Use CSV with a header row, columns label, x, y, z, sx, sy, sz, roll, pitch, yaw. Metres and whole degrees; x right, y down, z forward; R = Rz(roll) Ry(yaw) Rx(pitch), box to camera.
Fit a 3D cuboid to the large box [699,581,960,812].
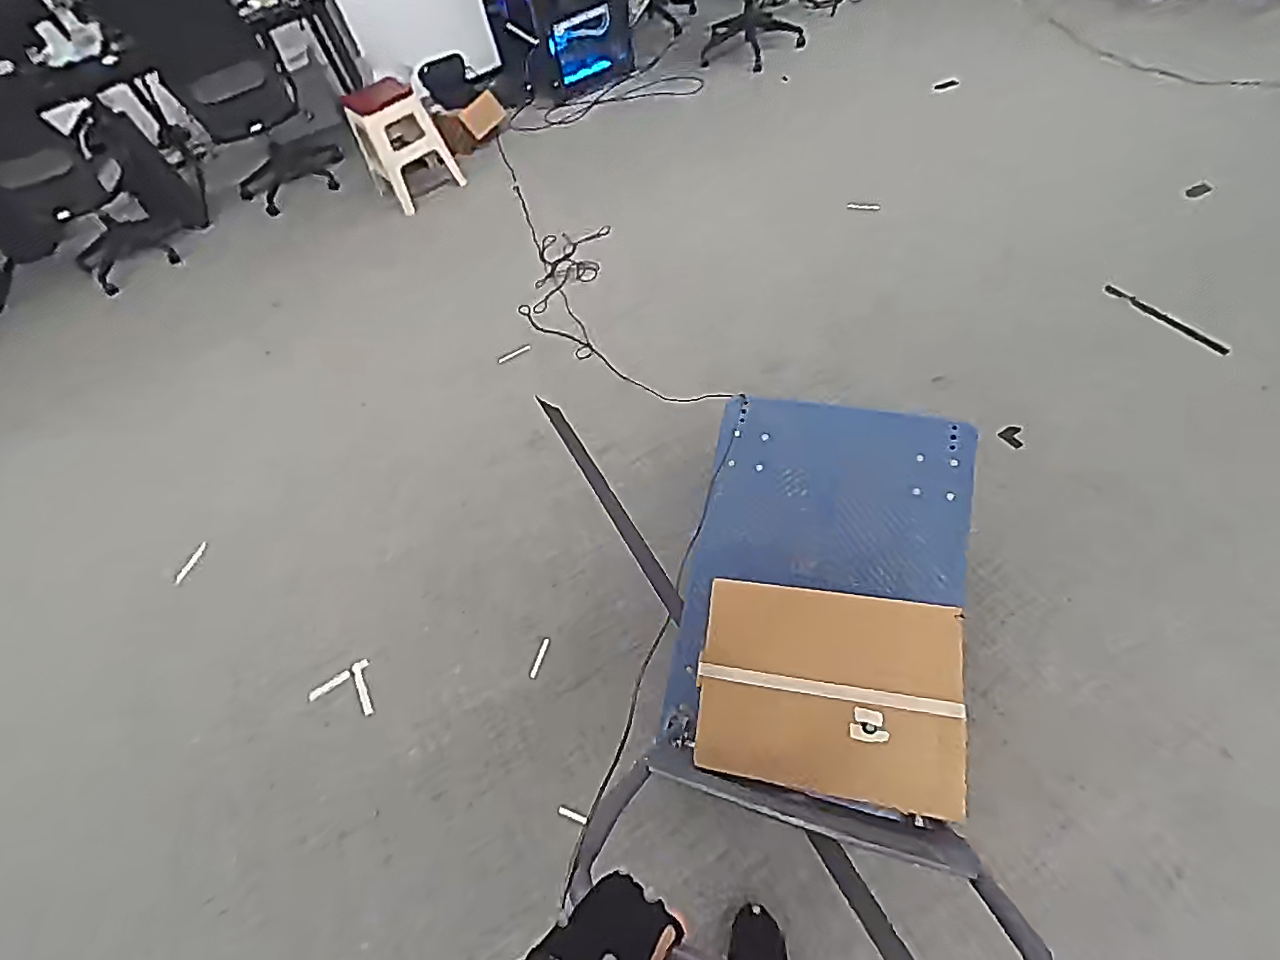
label,x,y,z,sx,sy,sz,roll,pitch,yaw
large box,0.339,0.385,1.036,0.408,0.320,0.320,4,75,15
